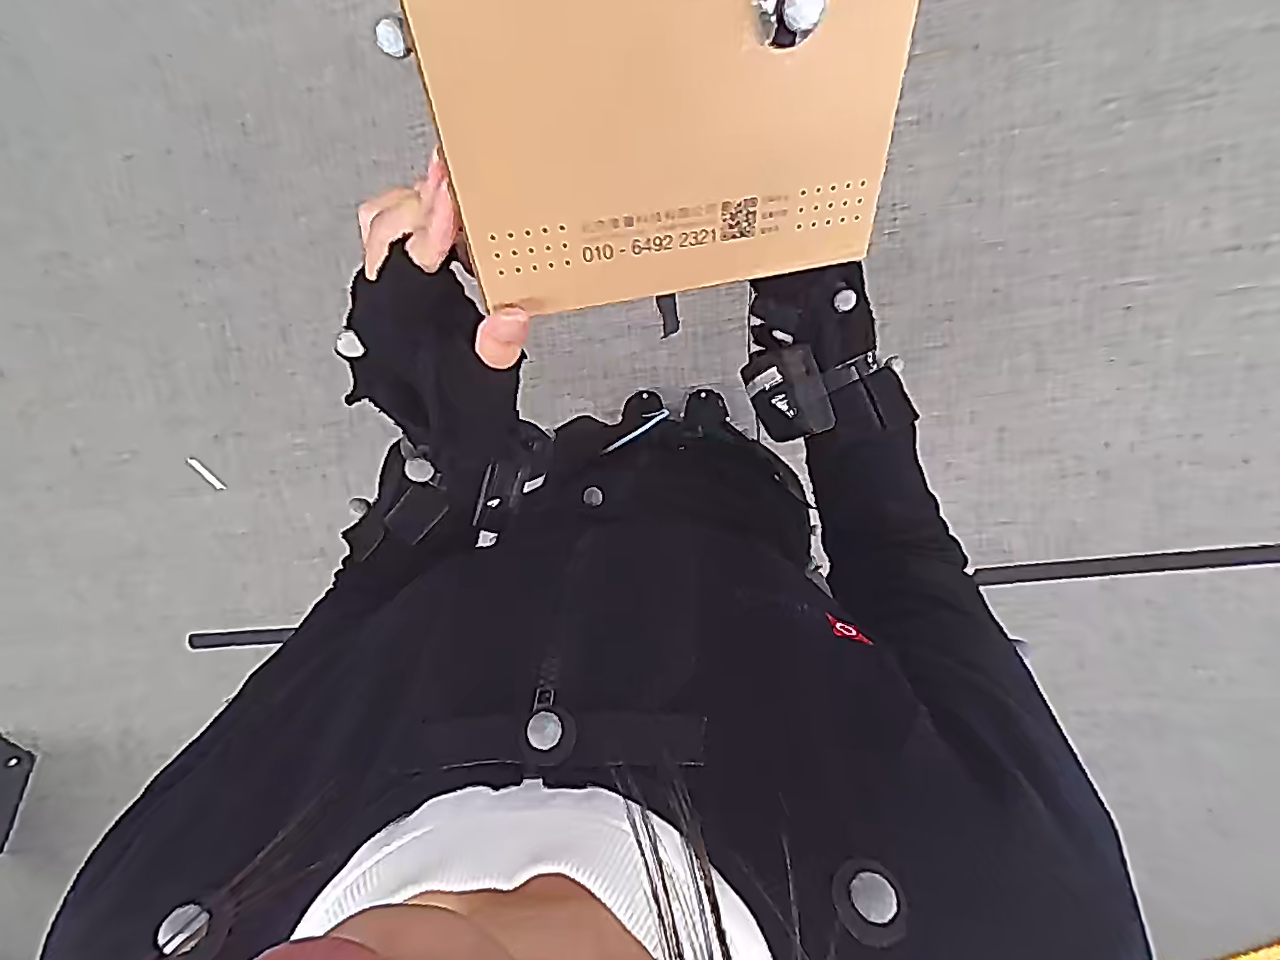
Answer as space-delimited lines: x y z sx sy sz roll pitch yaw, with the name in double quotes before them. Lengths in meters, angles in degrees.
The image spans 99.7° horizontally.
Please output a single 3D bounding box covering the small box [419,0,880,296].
"small box" -0.004 -0.198 0.253 0.168 0.179 0.176 -12 132 -7
